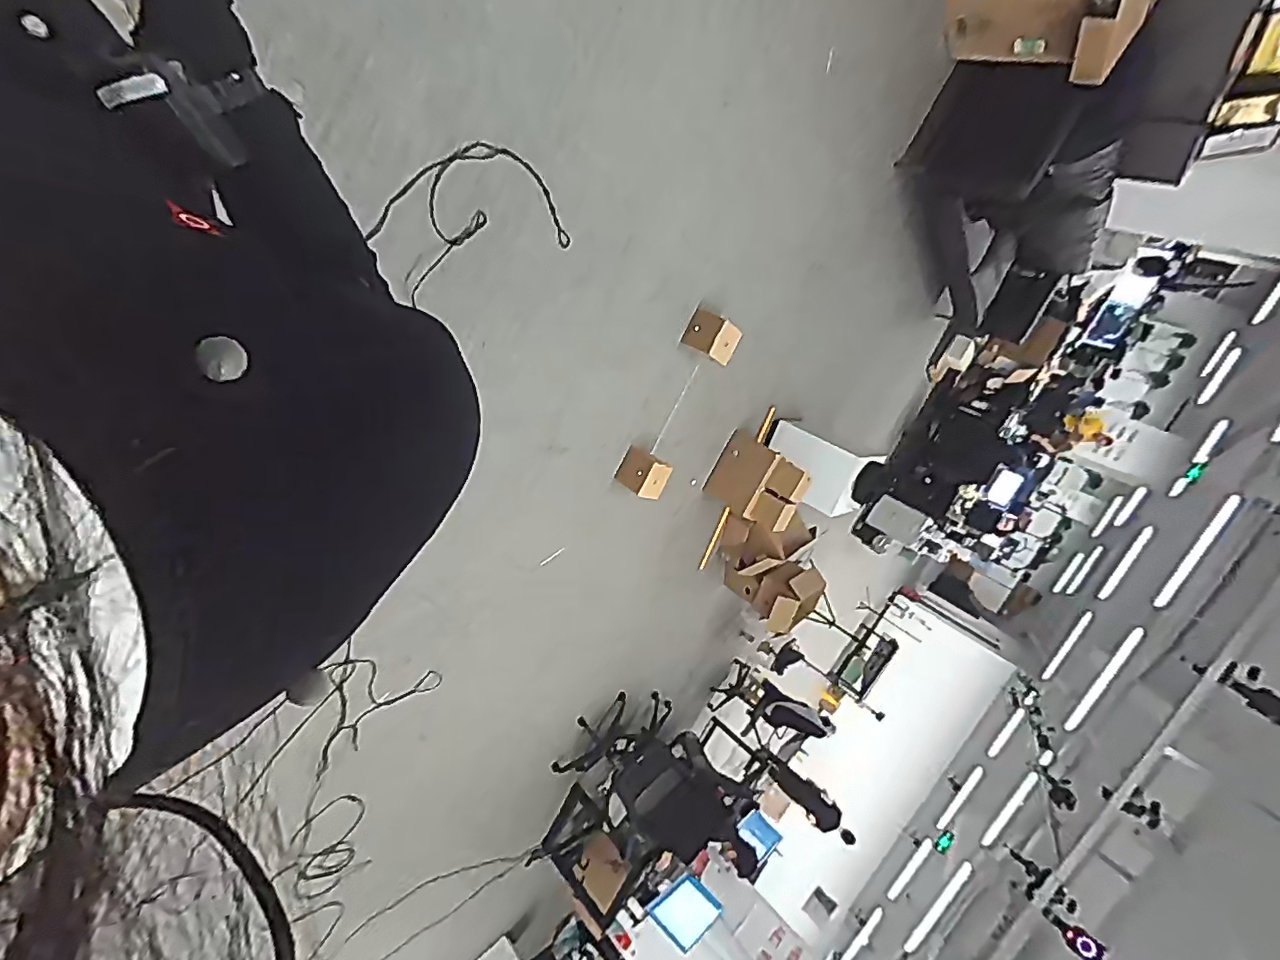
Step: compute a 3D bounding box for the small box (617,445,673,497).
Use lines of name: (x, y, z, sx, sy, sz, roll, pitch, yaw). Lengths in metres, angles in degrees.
small box: (0.018, -0.043, 2.543, 0.168, 0.176, 0.179, 14, 106, -55)

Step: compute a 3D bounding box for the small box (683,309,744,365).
small box: (0.327, -0.642, 2.416, 0.179, 0.176, 0.168, 14, 107, -55)
